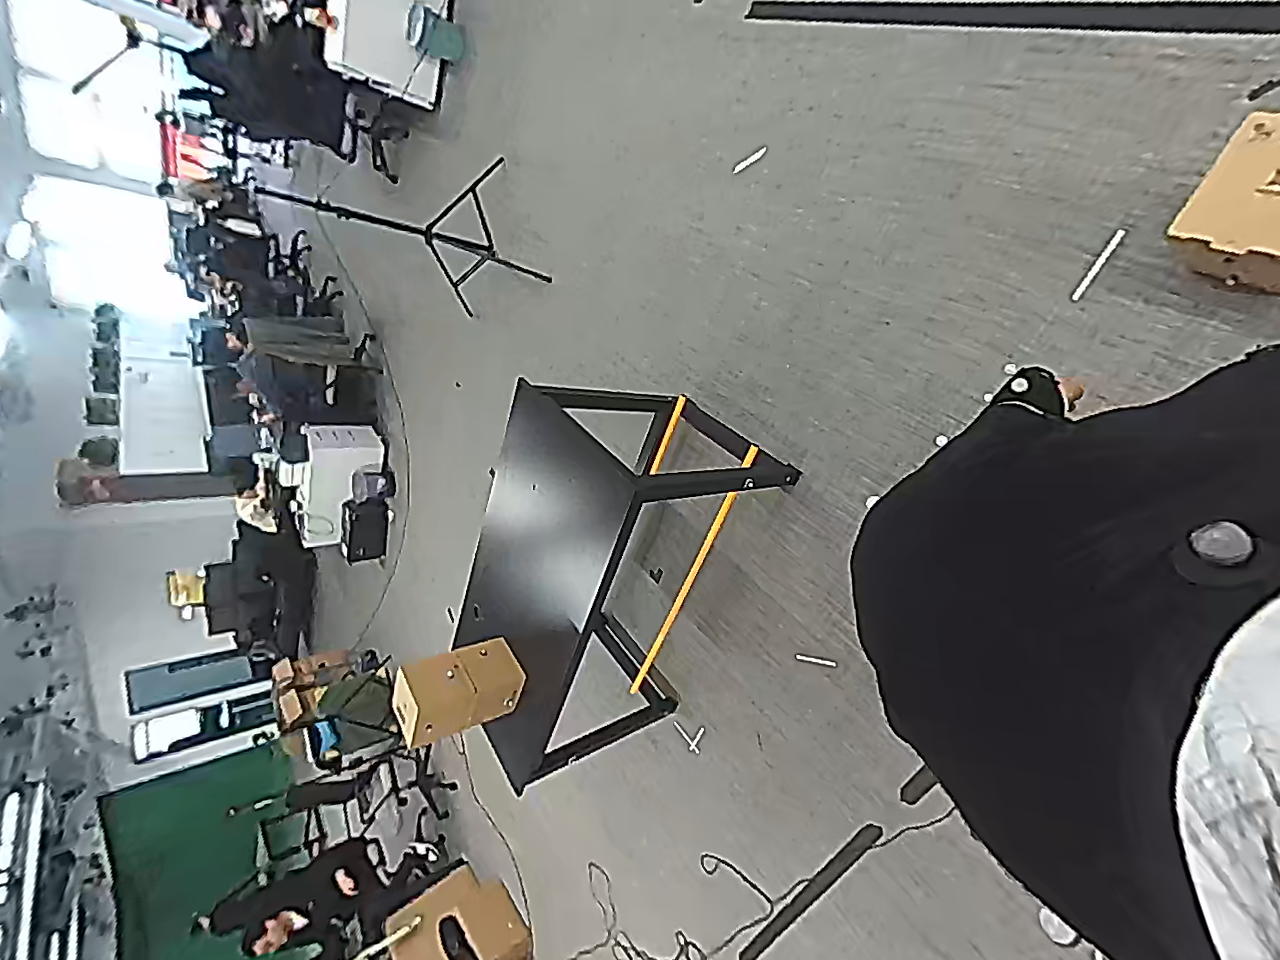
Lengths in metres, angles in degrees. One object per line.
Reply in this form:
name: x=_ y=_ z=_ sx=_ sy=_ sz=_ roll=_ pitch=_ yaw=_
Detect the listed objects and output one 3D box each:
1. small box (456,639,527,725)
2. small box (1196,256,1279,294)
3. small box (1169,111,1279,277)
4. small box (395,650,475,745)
small box: x=-0.480 y=0.623 z=1.697 sx=0.179 sy=0.176 sz=0.168 roll=43 pitch=124 yaw=37
small box: x=1.105 y=-0.439 z=0.924 sx=0.168 sy=0.176 sz=0.179 roll=45 pitch=125 yaw=37
small box: x=0.975 y=-0.425 z=0.824 sx=0.168 sy=0.176 sz=0.179 roll=43 pitch=124 yaw=38
small box: x=-0.603 y=0.632 z=1.587 sx=0.168 sy=0.176 sz=0.179 roll=42 pitch=123 yaw=38
